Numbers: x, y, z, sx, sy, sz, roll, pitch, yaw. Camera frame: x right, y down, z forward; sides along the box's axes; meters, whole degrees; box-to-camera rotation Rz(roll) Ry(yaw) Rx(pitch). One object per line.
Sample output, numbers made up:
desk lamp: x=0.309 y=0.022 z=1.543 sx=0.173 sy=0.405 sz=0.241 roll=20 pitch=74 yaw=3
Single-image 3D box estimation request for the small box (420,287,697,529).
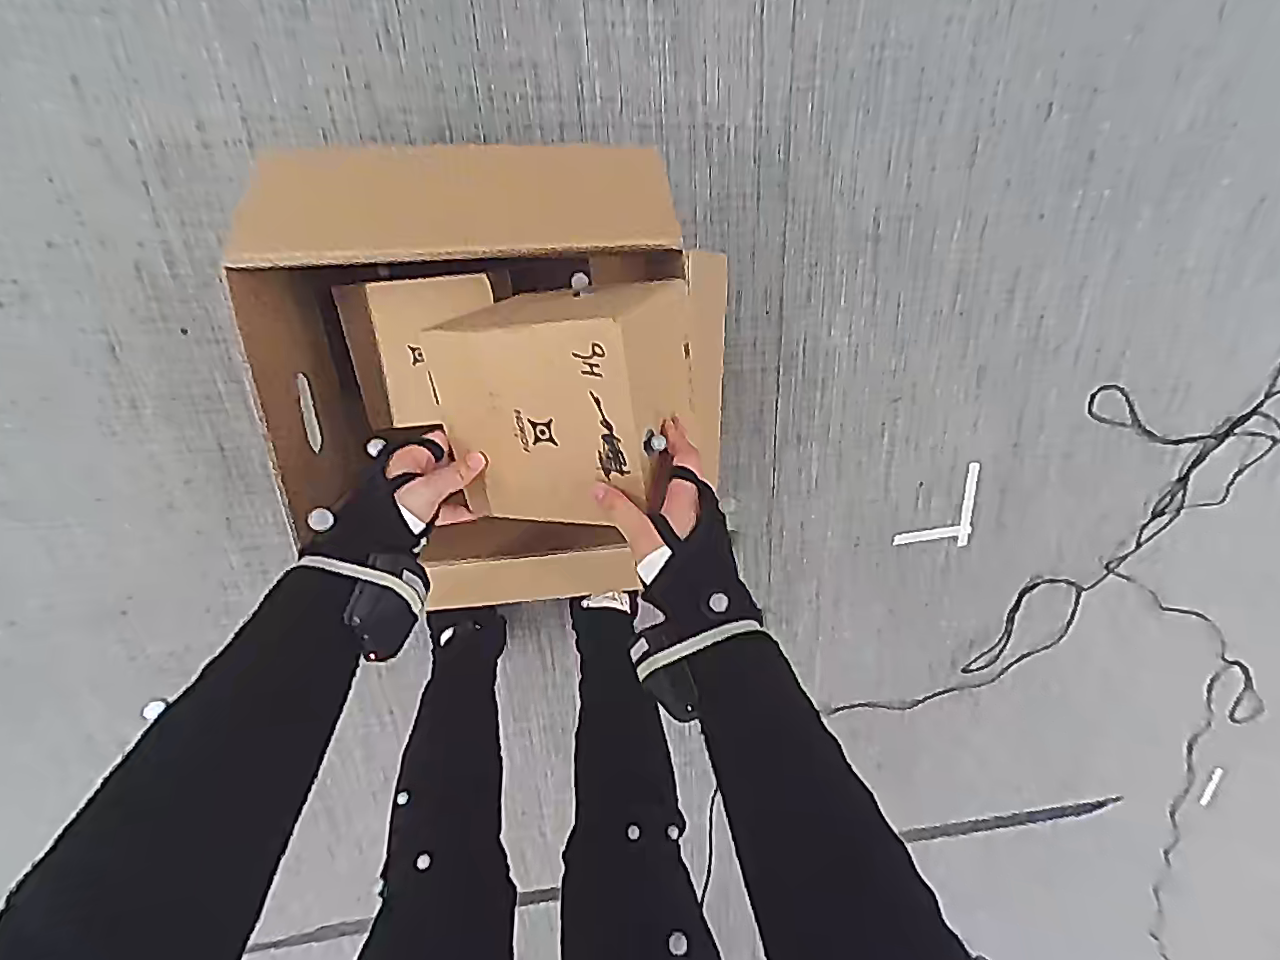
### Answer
small box: x=-0.058 y=-0.074 z=0.498 sx=0.179 sy=0.176 sz=0.168 roll=3 pitch=119 yaw=22
